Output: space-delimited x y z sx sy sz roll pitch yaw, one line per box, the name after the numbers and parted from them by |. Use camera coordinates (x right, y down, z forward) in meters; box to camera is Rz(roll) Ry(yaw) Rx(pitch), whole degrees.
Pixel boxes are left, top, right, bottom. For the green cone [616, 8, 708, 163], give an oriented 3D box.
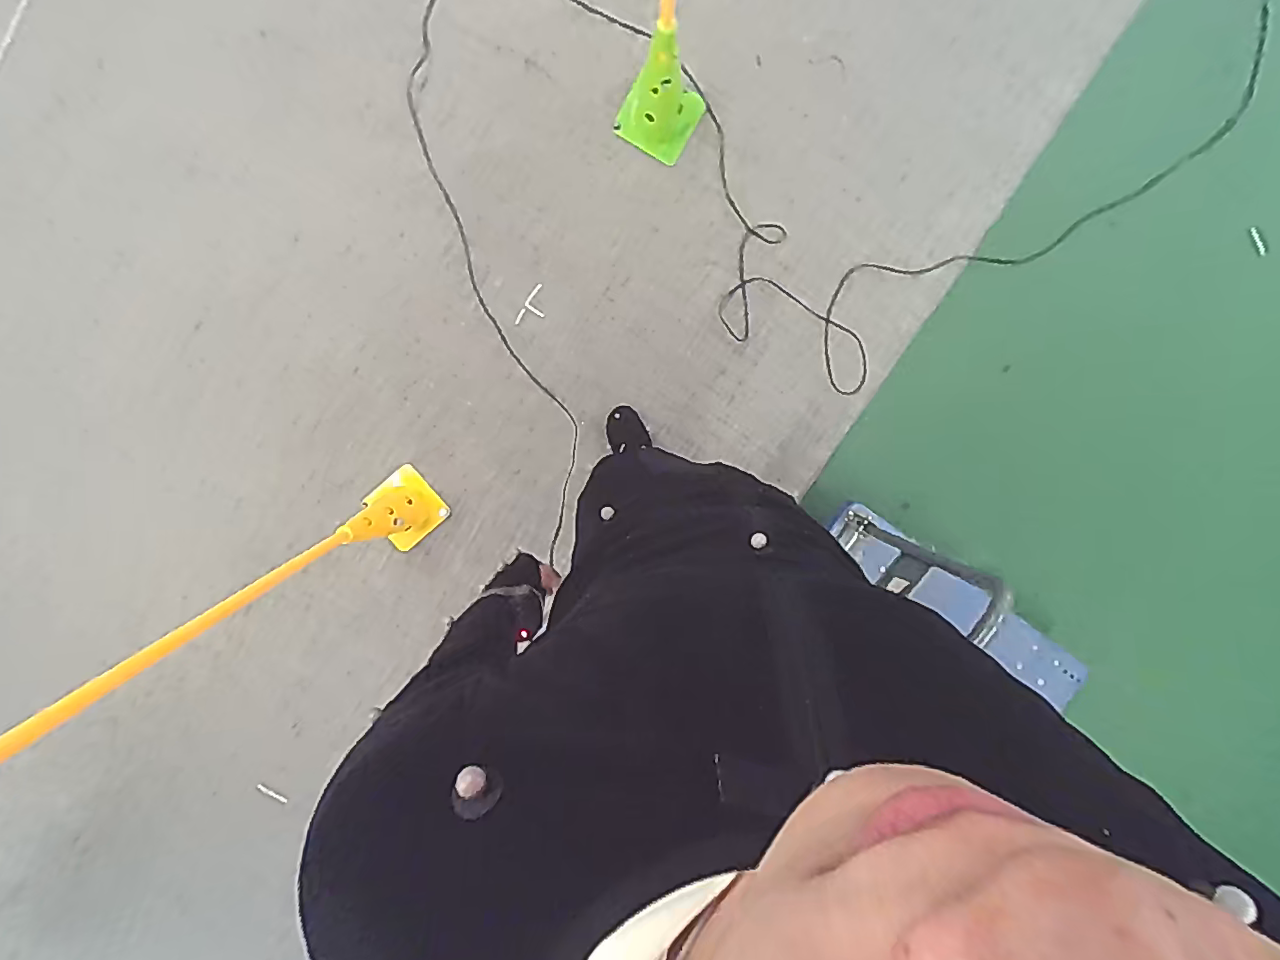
0.065 -0.978 1.306 0.200 0.368 0.202 29 94 -4 | green cone
